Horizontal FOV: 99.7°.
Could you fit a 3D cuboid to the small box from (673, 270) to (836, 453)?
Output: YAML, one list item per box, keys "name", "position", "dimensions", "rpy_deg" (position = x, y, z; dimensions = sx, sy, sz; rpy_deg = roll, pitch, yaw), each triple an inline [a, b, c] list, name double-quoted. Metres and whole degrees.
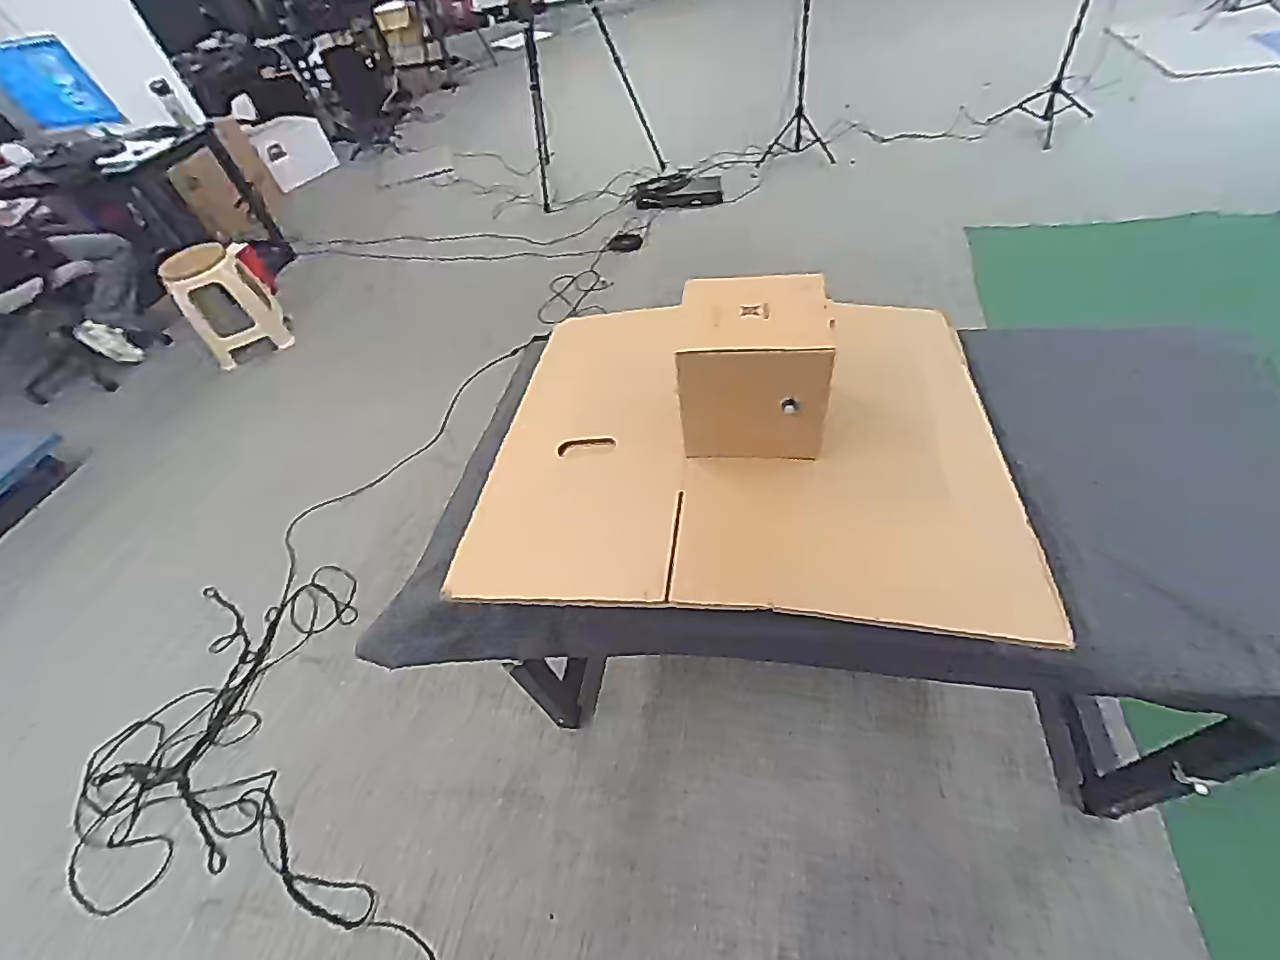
- name: "small box"
  position: [0.142, -0.147, 0.693]
  dimensions: [0.179, 0.176, 0.168]
  rpy_deg: [1, 48, 11]
